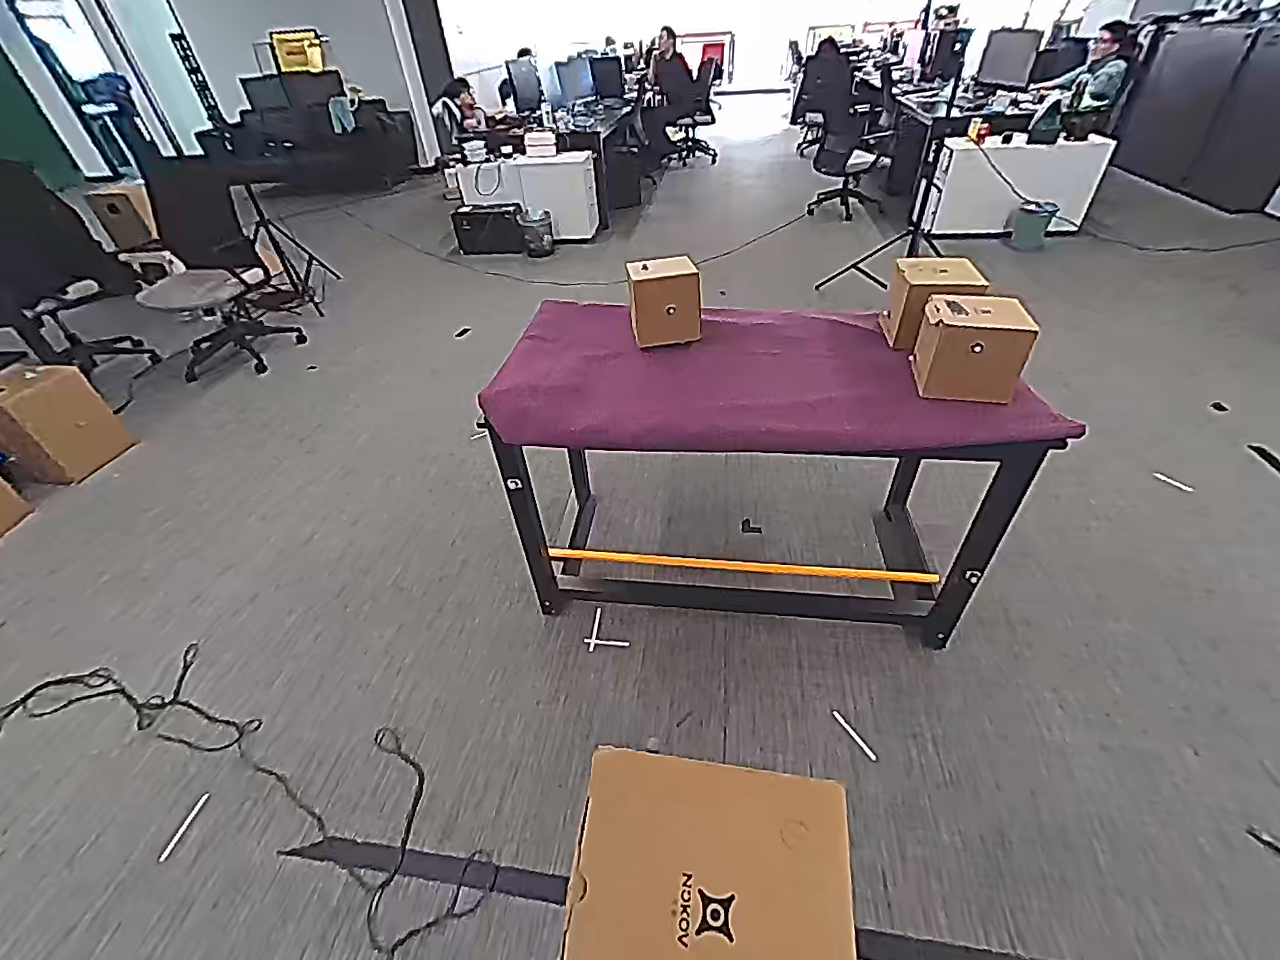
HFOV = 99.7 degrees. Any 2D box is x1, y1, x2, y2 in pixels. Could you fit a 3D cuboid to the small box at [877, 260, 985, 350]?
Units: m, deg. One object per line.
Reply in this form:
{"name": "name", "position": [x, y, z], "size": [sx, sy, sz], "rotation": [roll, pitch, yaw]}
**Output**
{"name": "small box", "position": [0.717, -0.436, 1.353], "size": [0.179, 0.176, 0.168], "rotation": [2, 42, 8]}

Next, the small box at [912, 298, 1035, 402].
{"name": "small box", "position": [0.706, -0.283, 1.174], "size": [0.179, 0.176, 0.168], "rotation": [6, 40, 12]}

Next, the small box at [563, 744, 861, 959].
{"name": "small box", "position": [0.051, 0.305, 0.396], "size": [0.179, 0.176, 0.168], "rotation": [3, 56, 9]}
